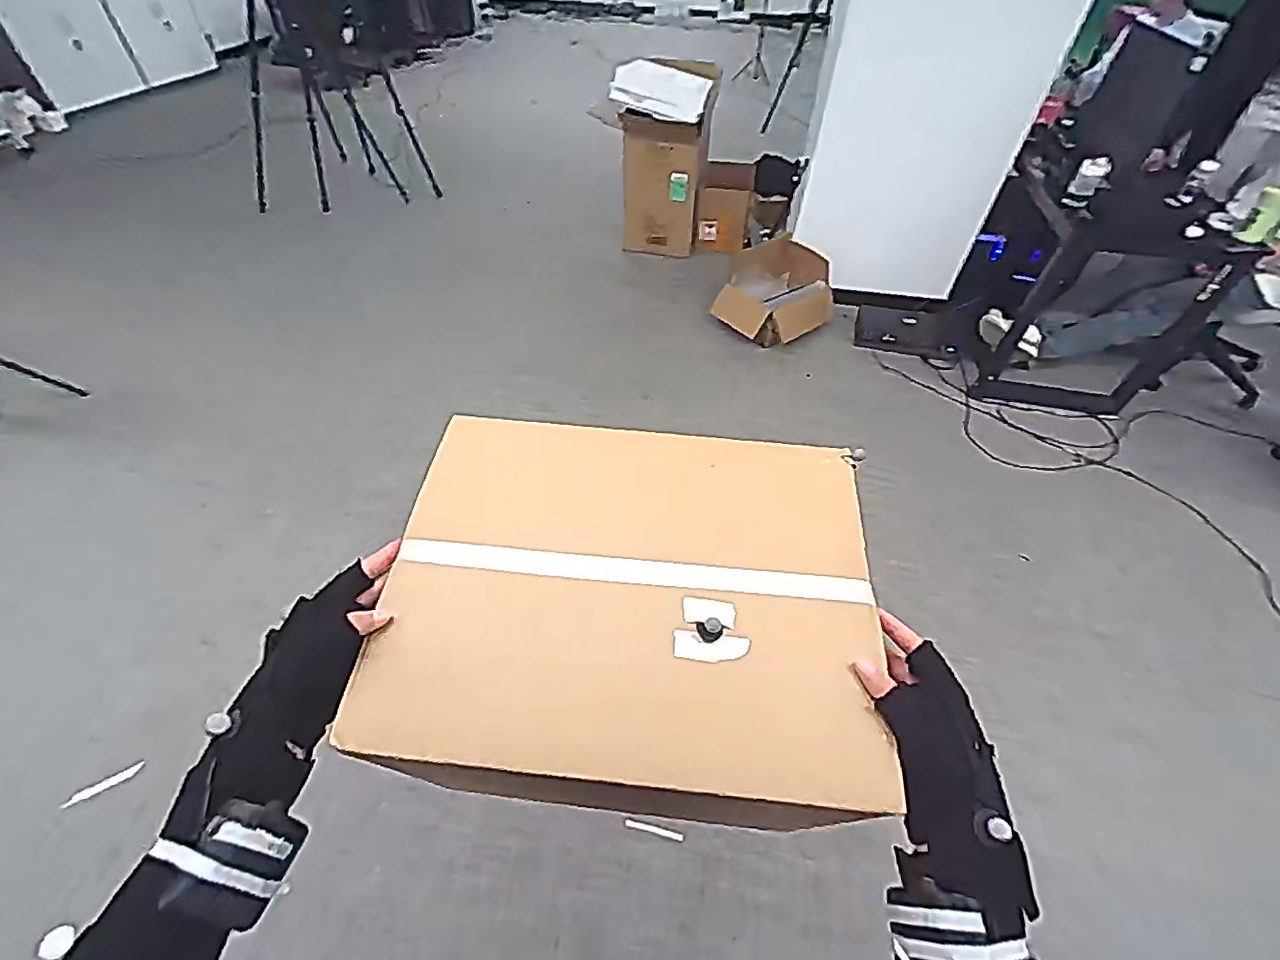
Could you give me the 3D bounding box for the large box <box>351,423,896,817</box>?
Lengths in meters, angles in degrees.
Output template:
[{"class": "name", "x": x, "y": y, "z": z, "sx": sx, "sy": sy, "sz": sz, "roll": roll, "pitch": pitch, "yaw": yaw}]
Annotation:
[{"class": "large box", "x": -0.008, "y": 0.165, "z": 0.592, "sx": 0.408, "sy": 0.320, "sz": 0.320, "roll": 5, "pitch": 56, "yaw": 2}]
